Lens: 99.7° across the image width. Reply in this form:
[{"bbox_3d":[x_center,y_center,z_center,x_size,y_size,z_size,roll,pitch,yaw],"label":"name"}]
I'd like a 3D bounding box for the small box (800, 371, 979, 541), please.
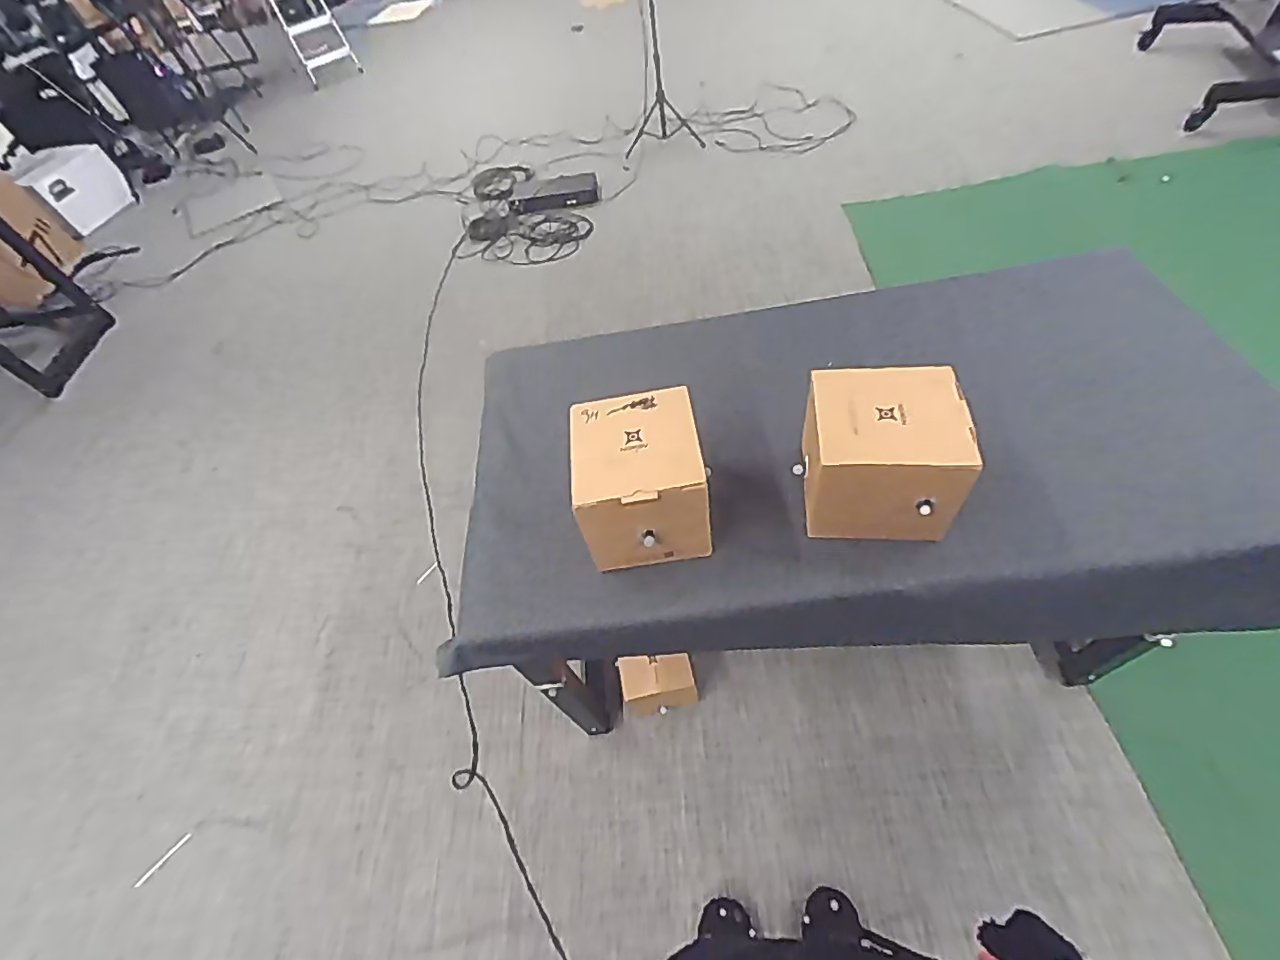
[{"bbox_3d":[0.319,-0.029,0.731,0.179,0.176,0.168,1,54,11],"label":"small box"}]

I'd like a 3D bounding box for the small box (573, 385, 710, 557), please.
[{"bbox_3d":[0.005,-0.003,0.761,0.168,0.176,0.179,-8,53,3],"label":"small box"}]
